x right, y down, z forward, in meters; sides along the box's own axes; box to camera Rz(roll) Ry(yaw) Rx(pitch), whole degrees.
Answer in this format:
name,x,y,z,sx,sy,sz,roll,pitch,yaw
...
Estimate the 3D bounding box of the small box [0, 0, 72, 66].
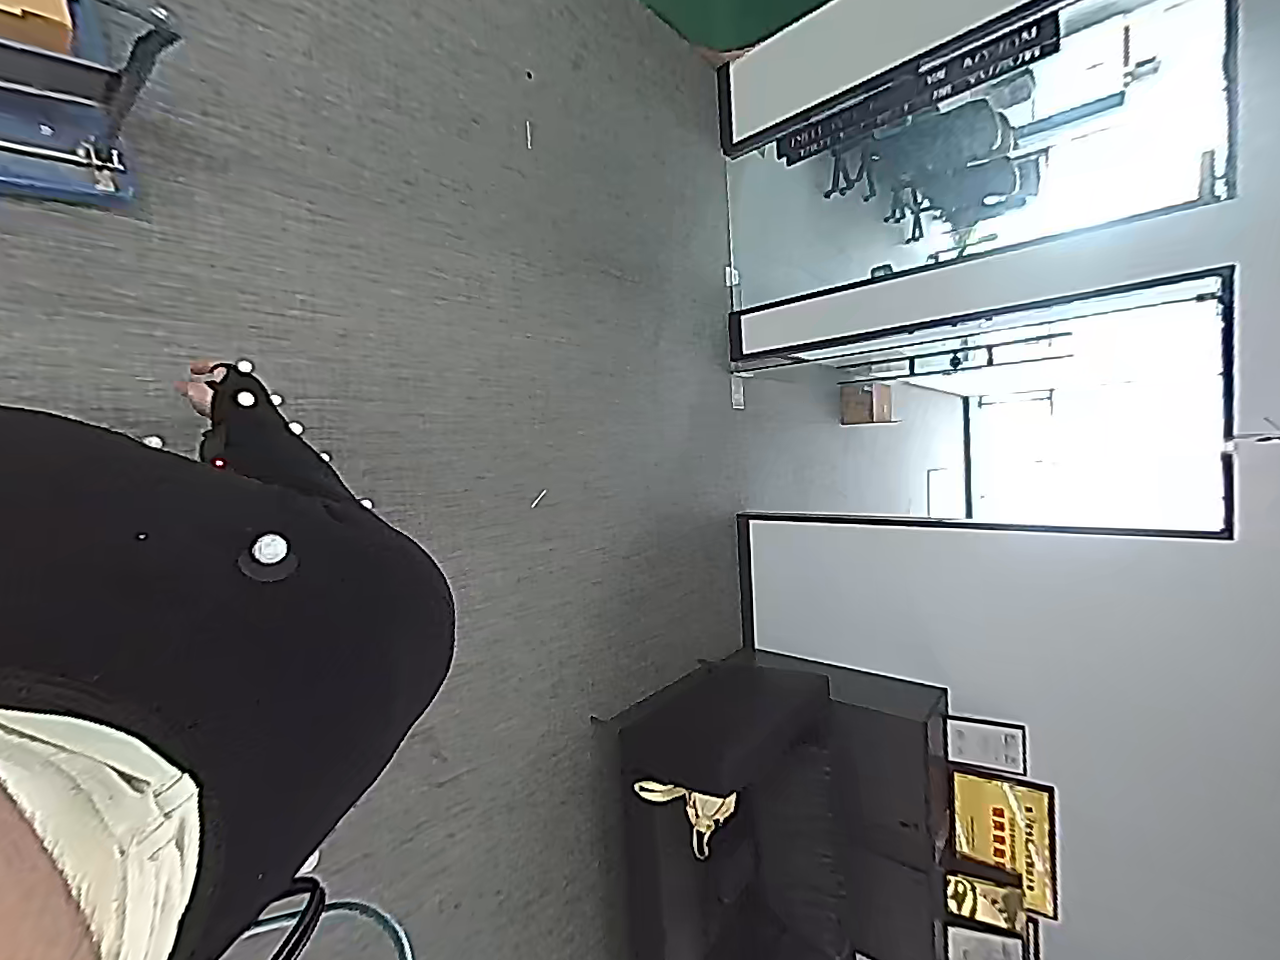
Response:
name,x,y,z,sx,sy,sz,roll,pitch,yaw
small box,-1.101,-0.860,0.912,0.168,0.176,0.179,-14,101,-49
